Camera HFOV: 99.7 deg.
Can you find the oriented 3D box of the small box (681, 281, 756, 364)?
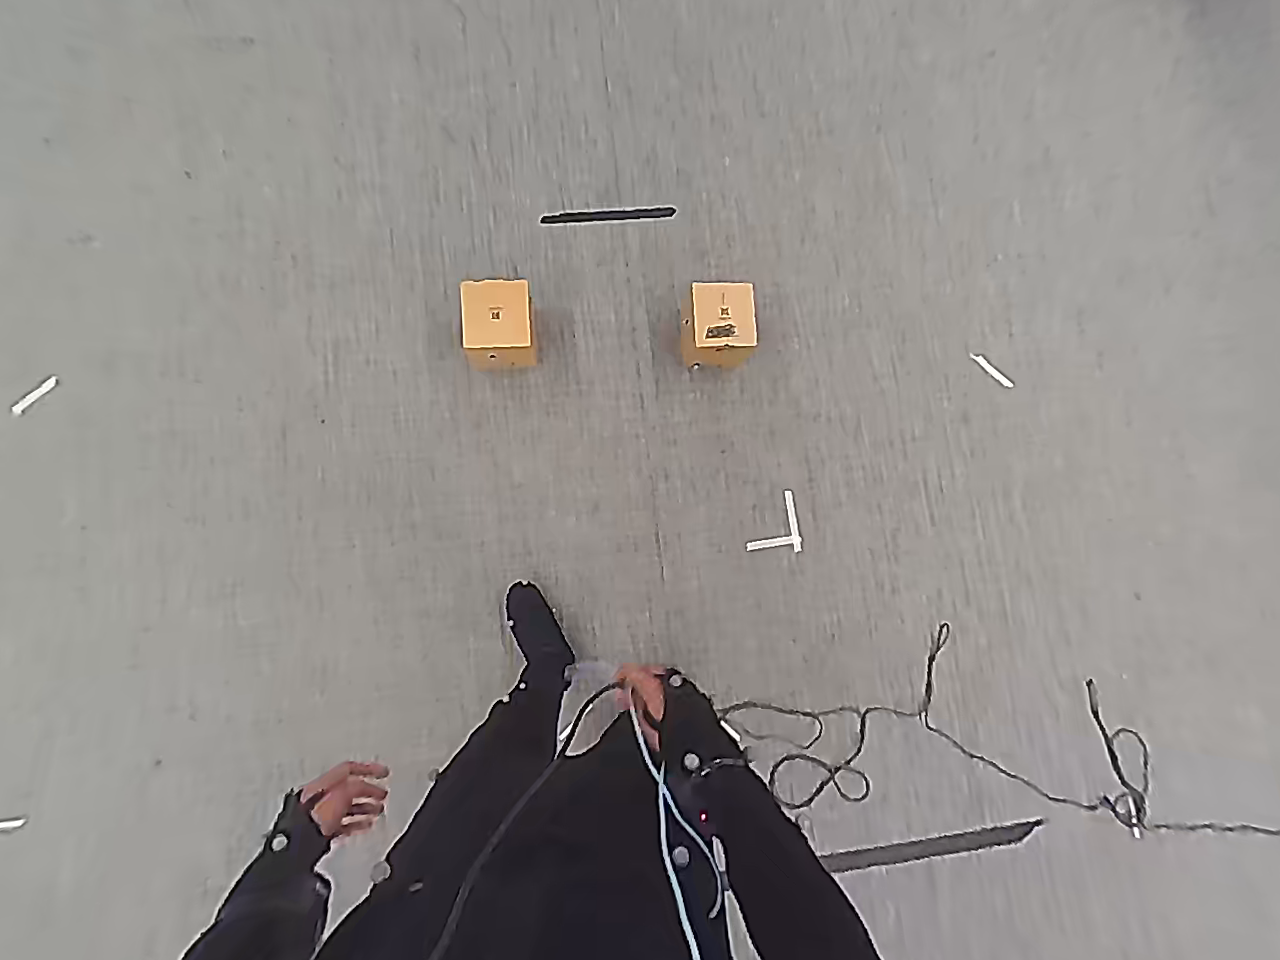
[{"bbox_3d":[0.209,-0.420,1.470,0.168,0.176,0.179,-2,84,-7],"label":"small box"}]

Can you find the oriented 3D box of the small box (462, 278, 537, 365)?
[{"bbox_3d":[-0.361,-0.405,1.410,0.168,0.176,0.179,-4,84,-6],"label":"small box"}]
